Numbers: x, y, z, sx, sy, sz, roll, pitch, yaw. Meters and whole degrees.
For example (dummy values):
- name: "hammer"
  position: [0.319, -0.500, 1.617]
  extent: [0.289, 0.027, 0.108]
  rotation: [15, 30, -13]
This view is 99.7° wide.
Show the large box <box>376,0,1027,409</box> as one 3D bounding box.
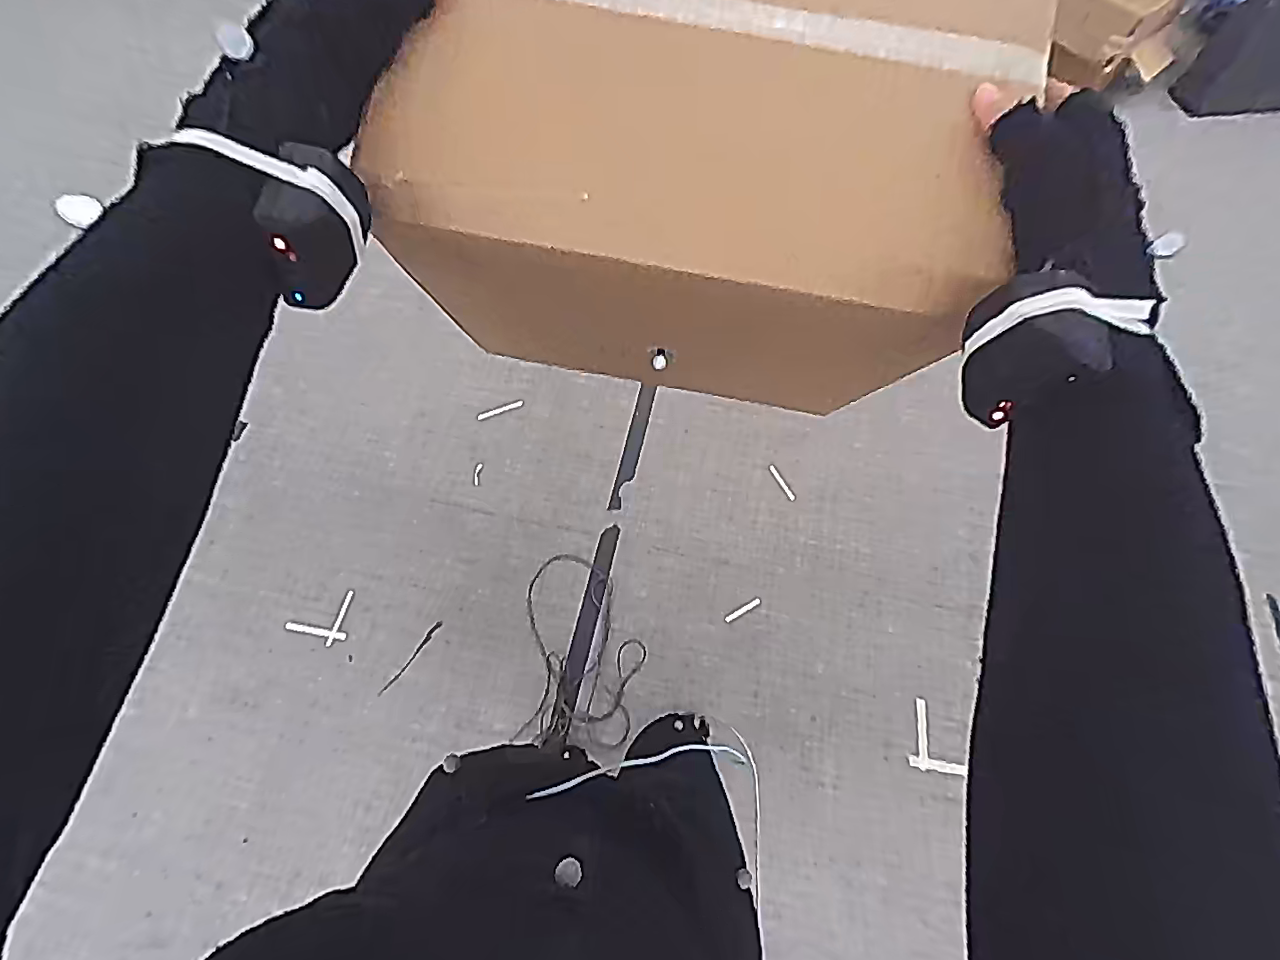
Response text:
- name: "large box"
  position: [0.050, -0.269, 0.505]
  extent: [0.408, 0.320, 0.320]
  rotation: [10, 86, 1]
